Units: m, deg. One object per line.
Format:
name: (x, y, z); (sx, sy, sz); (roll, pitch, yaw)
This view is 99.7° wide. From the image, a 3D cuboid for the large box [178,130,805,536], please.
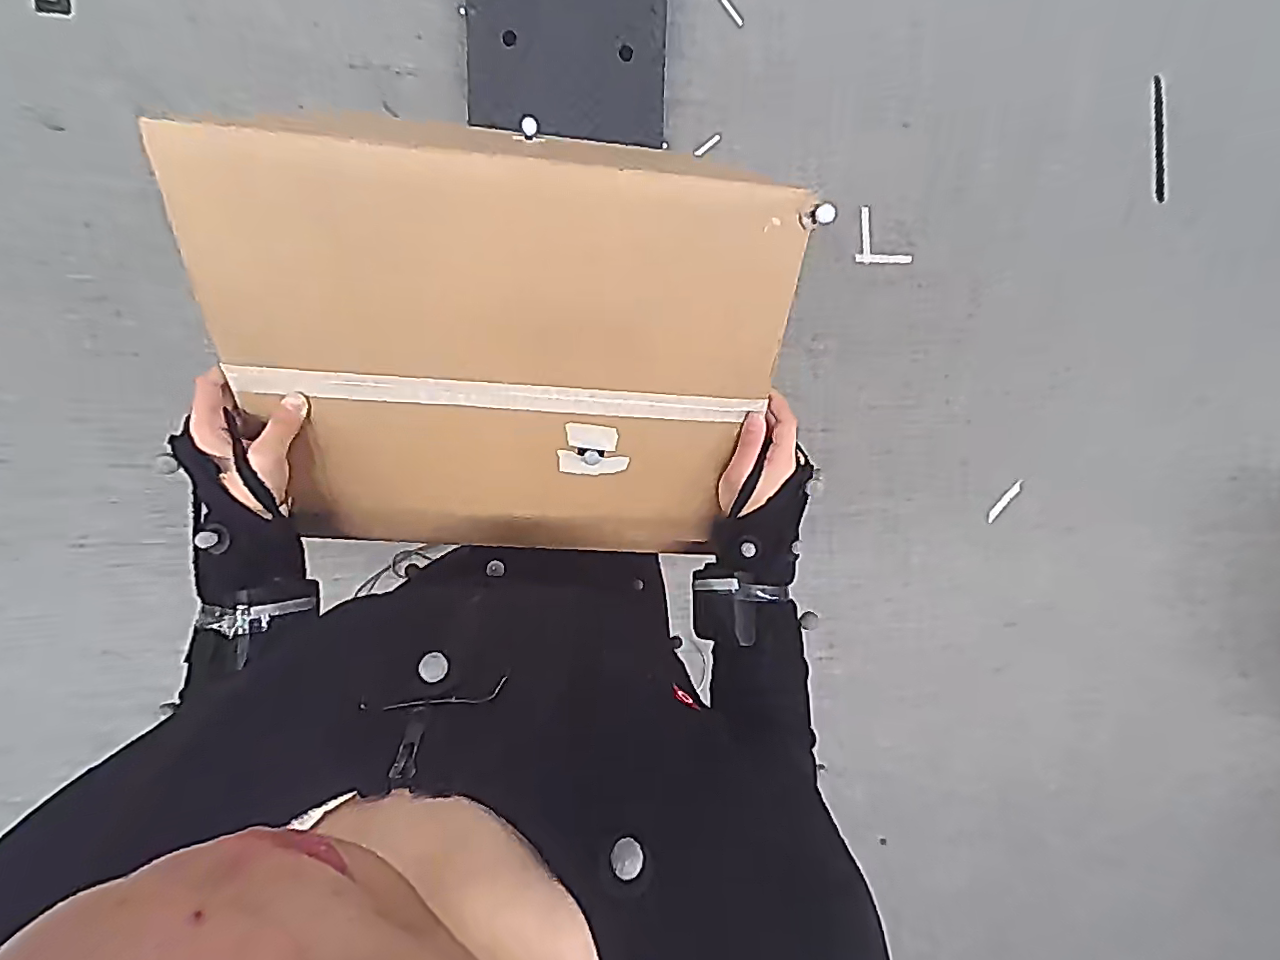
large box: (-0.108, -0.158, 0.550); (0.408, 0.320, 0.320); (2, 126, -6)
